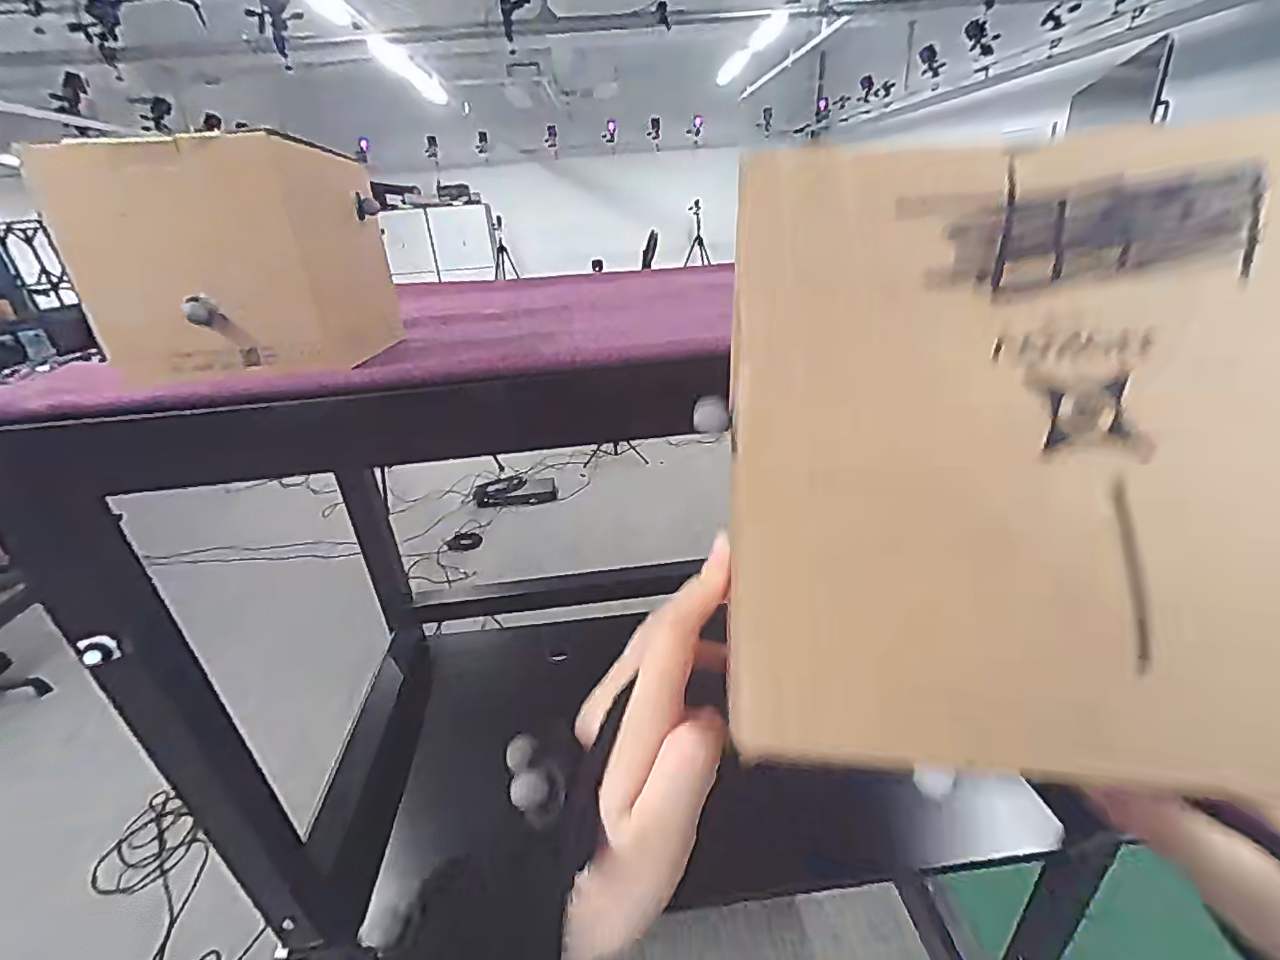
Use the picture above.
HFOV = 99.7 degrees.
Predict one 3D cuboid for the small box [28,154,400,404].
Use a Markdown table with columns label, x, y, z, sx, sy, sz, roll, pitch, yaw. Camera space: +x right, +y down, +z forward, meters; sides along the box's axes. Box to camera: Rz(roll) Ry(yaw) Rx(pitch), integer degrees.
| label | x | y | z | sx | sy | sz | roll | pitch | yaw |
| --- | --- | --- | --- | --- | --- | --- | --- | --- | --- |
| small box | -0.328 | -0.171 | 0.469 | 0.168 | 0.176 | 0.179 | -6 | 25 | -3 |

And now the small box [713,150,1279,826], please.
| label | x | y | z | sx | sy | sz | roll | pitch | yaw |
| --- | --- | --- | --- | --- | --- | --- | --- | --- | --- |
| small box | 0.114 | 0.013 | 0.210 | 0.168 | 0.176 | 0.179 | 1 | 70 | 9 |
